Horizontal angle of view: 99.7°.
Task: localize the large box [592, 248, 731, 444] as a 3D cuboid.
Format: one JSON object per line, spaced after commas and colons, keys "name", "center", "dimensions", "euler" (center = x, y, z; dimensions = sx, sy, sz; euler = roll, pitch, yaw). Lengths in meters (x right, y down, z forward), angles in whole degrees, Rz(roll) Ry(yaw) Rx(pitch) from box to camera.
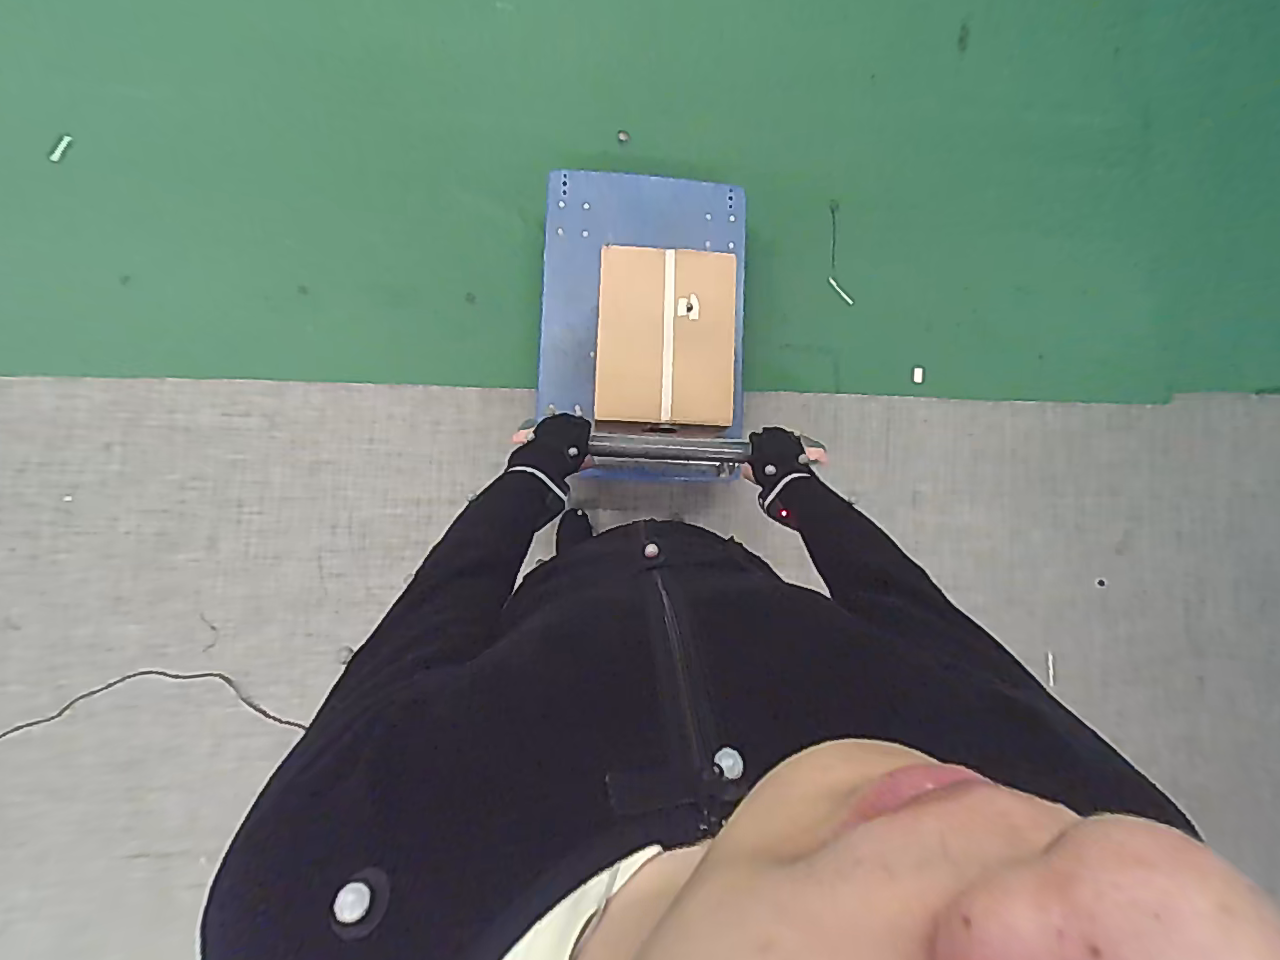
{"name": "large box", "center": [0.039, -0.310, 1.363], "dimensions": [0.320, 0.320, 0.408], "euler": [2, 84, -6]}
